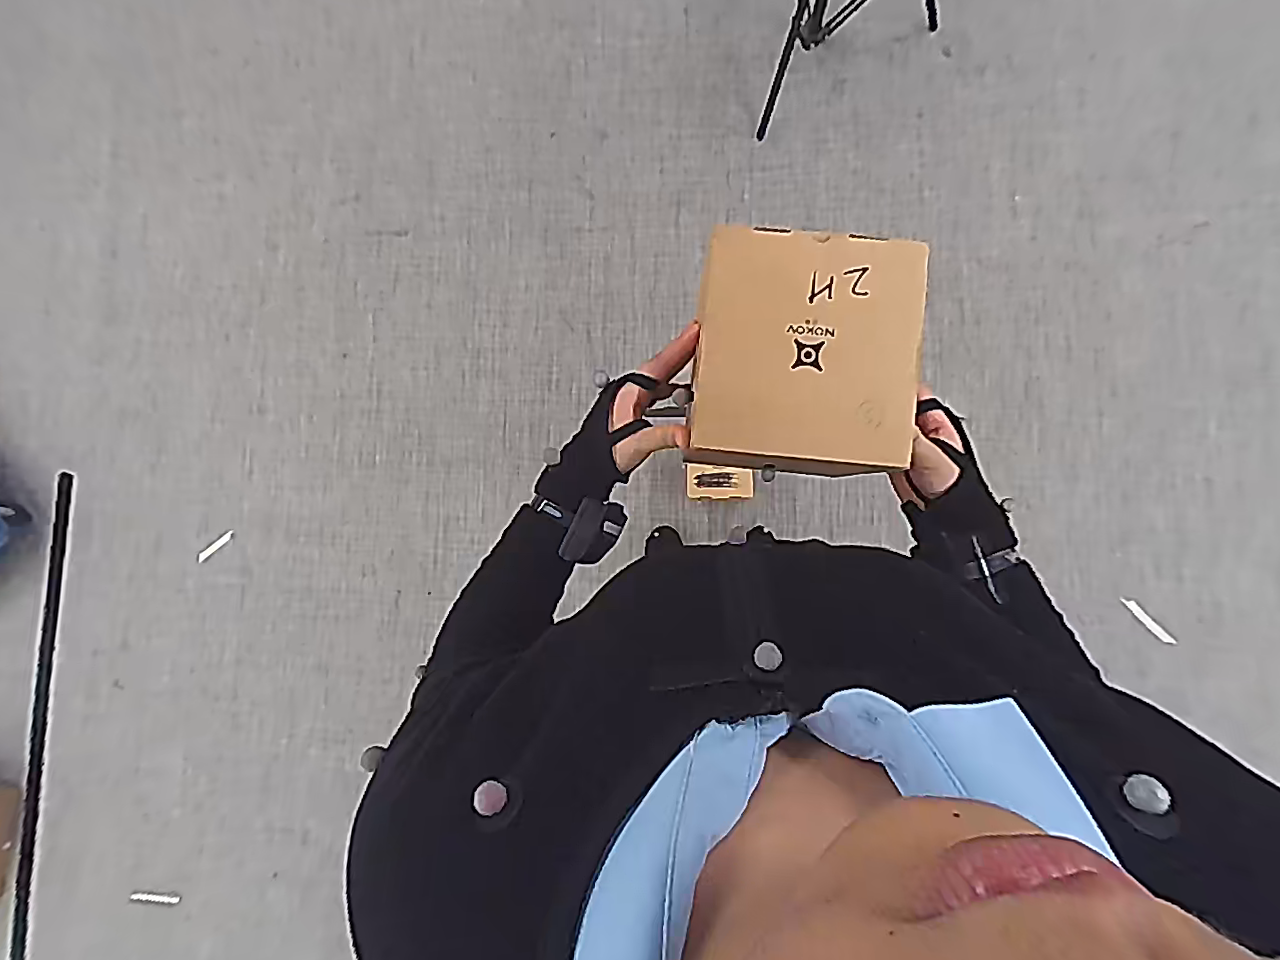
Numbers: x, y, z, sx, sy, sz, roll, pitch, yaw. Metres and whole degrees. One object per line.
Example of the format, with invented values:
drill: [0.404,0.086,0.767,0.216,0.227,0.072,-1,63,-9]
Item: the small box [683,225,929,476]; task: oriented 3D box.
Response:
small box: [0.130,-0.098,0.486,0.168,0.176,0.179,6,88,2]
